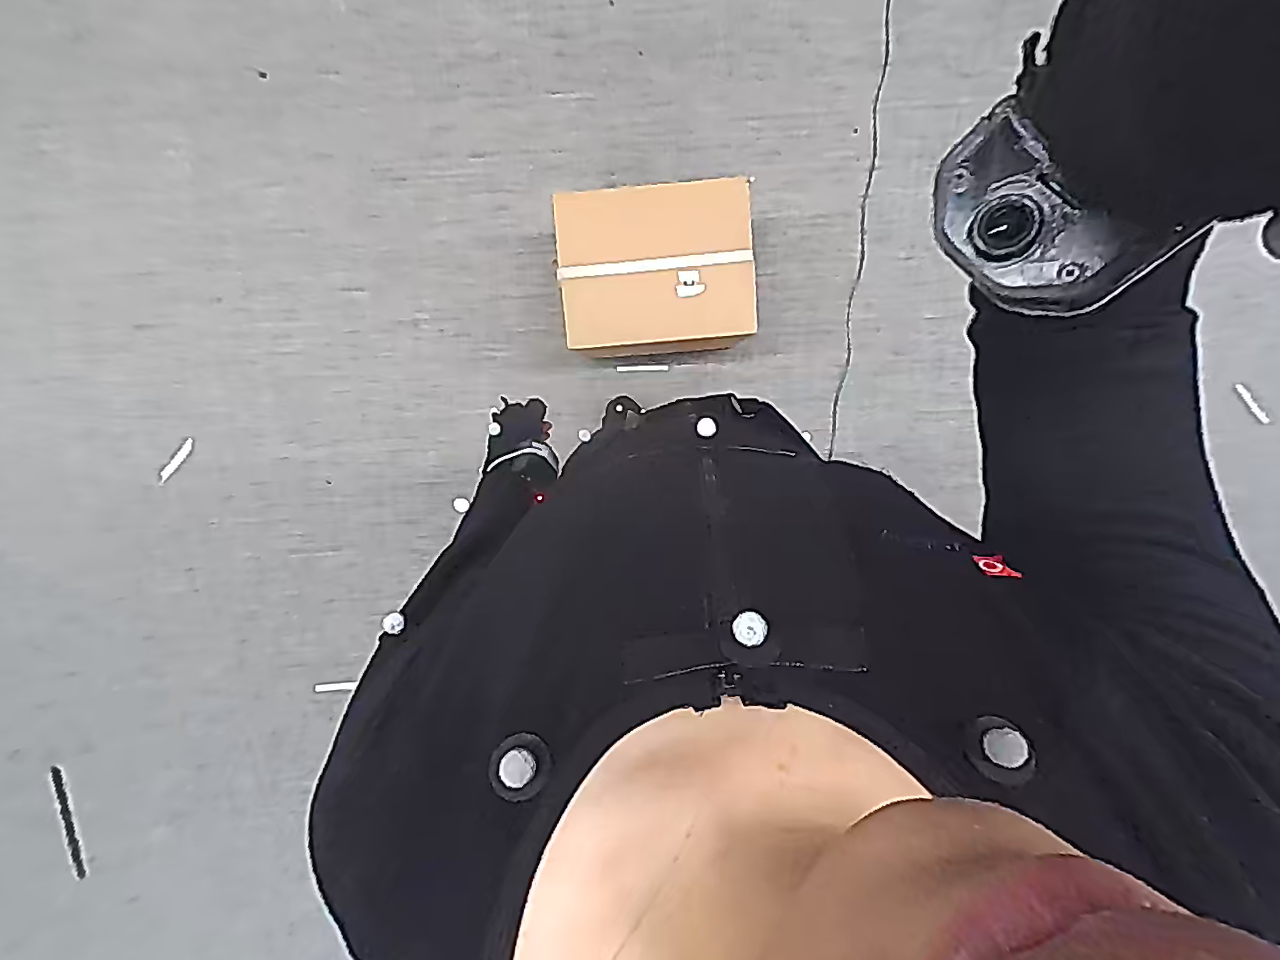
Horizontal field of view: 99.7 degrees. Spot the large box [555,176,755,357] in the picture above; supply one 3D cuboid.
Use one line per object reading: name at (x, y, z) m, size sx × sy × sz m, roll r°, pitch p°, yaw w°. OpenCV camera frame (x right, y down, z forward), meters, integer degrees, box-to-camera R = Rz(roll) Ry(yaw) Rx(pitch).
large box at (0.033, -0.477, 1.282) m, size 0.408 × 0.320 × 0.320 m, roll -5°, pitch 99°, yaw 1°
